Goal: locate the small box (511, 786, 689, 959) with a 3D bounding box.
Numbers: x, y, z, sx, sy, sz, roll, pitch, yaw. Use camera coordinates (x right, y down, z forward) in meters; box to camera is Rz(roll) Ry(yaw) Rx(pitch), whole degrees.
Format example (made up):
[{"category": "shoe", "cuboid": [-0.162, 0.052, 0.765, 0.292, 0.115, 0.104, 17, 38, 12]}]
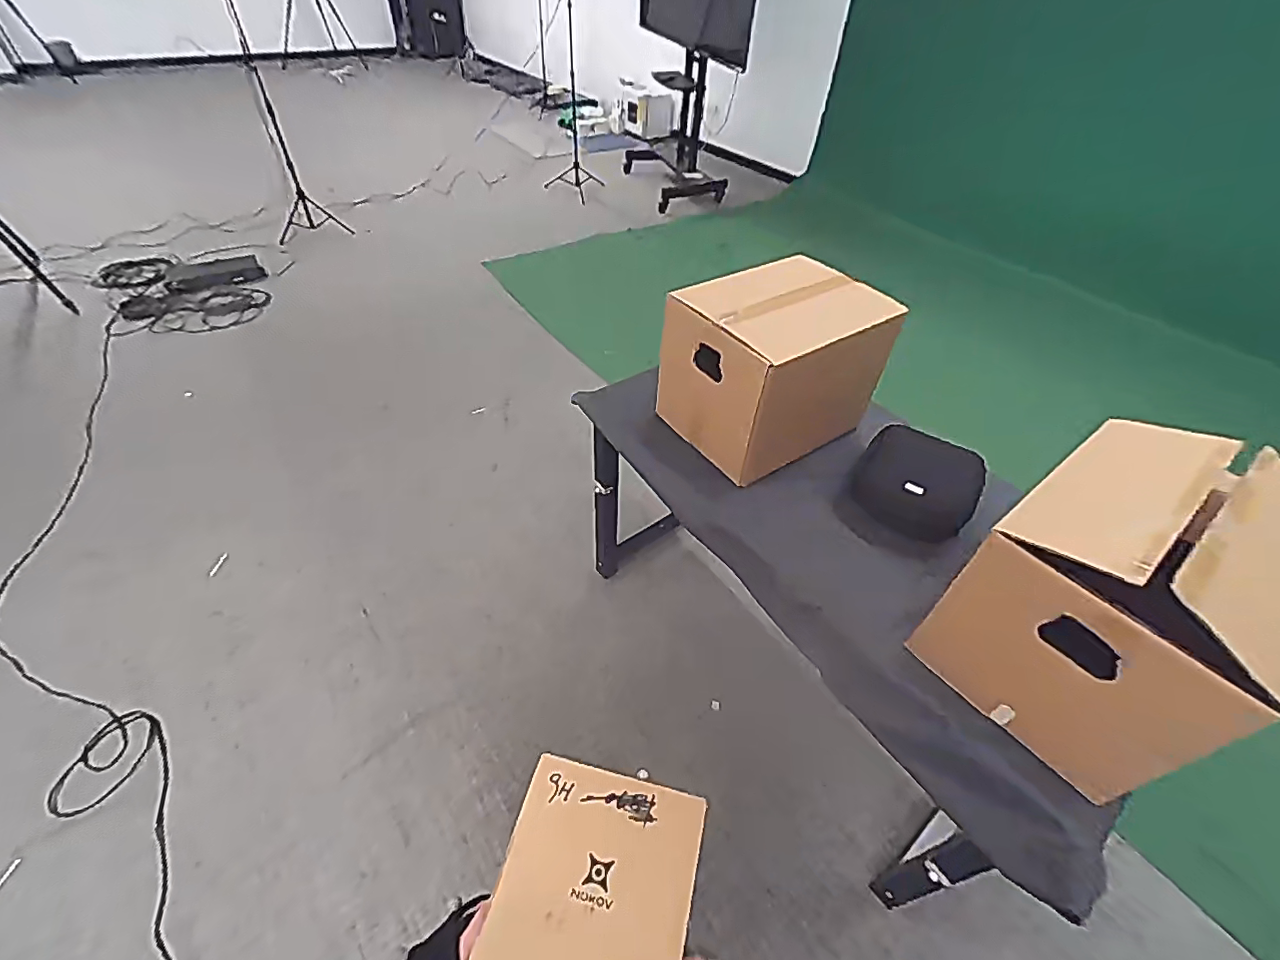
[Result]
[{"category": "small box", "cuboid": [-0.036, 0.503, 0.651, 0.168, 0.176, 0.179, 8, 47, 8]}]
